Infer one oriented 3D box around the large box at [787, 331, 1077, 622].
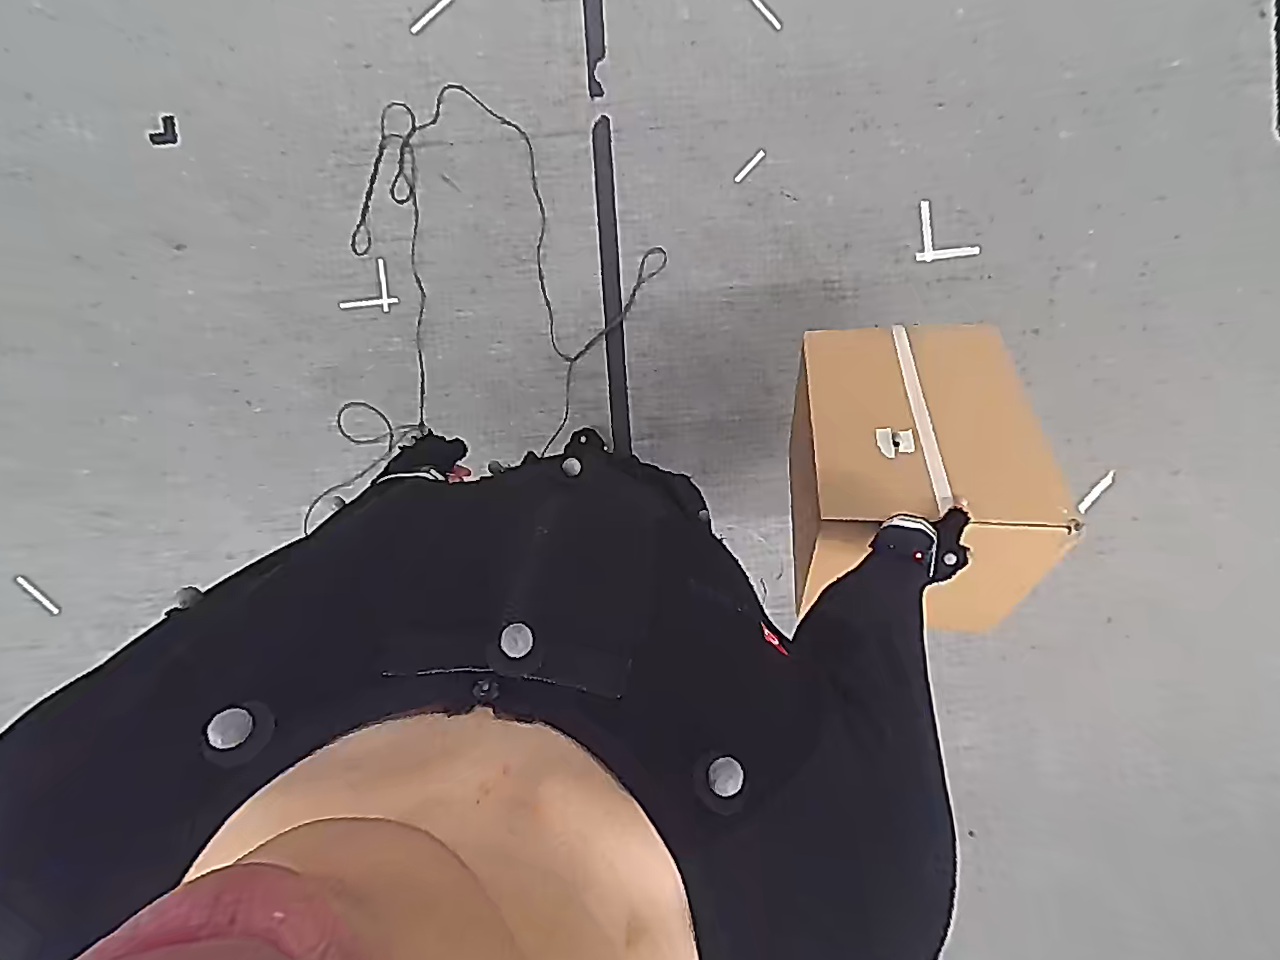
[{"bbox_3d":[0.438,-0.008,0.938,0.320,0.320,0.408,0,53,10],"label":"large box"}]
